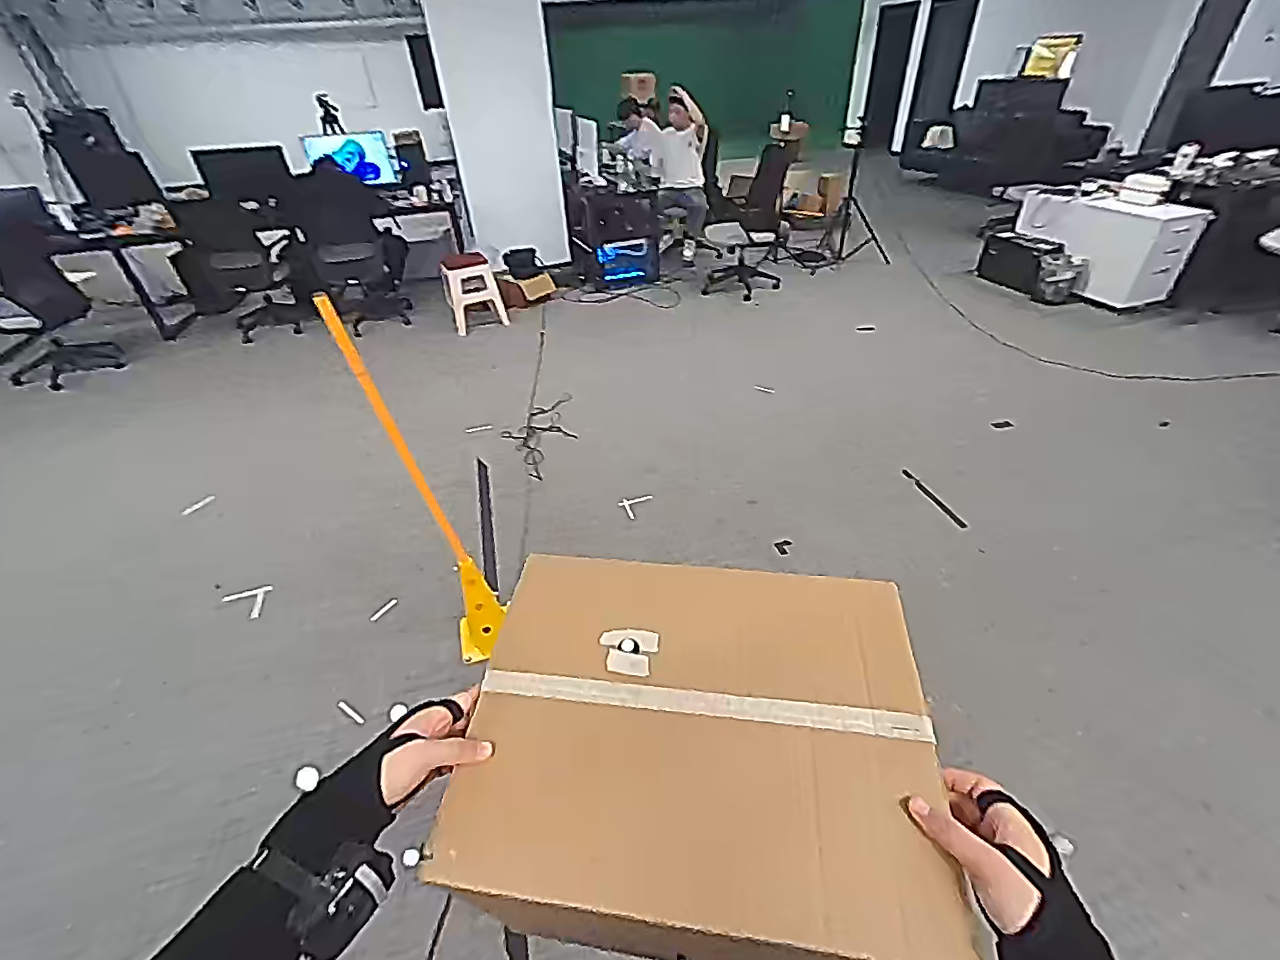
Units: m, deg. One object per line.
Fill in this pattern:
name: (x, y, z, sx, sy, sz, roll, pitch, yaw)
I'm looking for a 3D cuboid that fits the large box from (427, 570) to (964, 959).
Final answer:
large box: (0.060, 0.320, 0.603, 0.408, 0.320, 0.320, 1, 43, 9)
